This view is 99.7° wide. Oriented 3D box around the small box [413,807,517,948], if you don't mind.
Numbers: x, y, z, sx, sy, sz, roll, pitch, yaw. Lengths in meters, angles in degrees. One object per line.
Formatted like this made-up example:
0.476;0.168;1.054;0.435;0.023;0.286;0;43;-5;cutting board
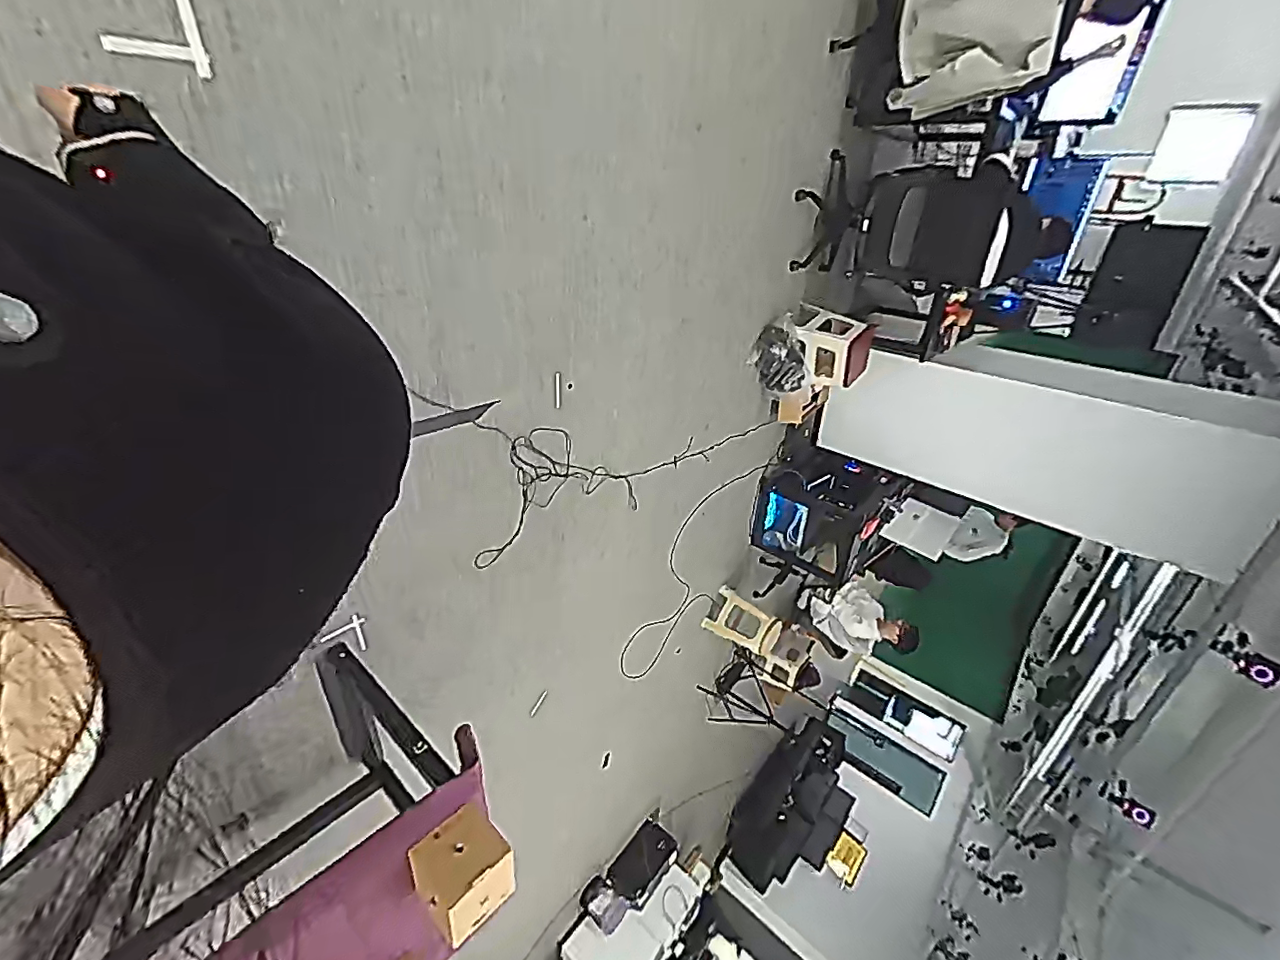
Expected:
-0.404;0.901;1.247;0.168;0.176;0.179;-25;129;-43;small box
